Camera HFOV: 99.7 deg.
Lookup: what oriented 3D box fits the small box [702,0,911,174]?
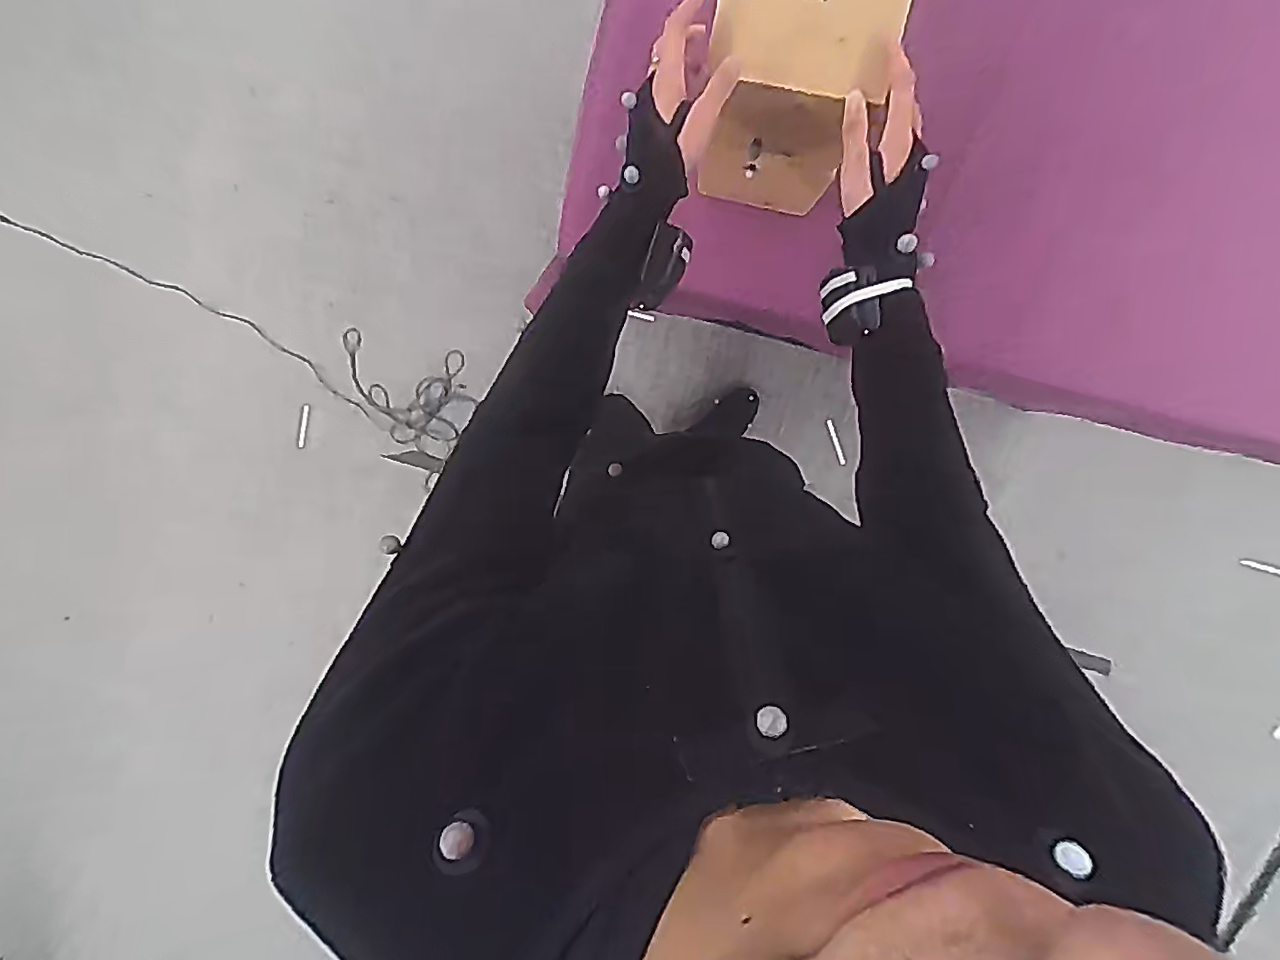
[{"bbox_3d":[0.159,-0.444,0.546,0.168,0.176,0.179,12,102,2],"label":"small box"}]

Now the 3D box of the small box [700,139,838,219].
[{"bbox_3d":[0.177,-0.471,0.706,0.168,0.176,0.179,14,101,2],"label":"small box"}]
